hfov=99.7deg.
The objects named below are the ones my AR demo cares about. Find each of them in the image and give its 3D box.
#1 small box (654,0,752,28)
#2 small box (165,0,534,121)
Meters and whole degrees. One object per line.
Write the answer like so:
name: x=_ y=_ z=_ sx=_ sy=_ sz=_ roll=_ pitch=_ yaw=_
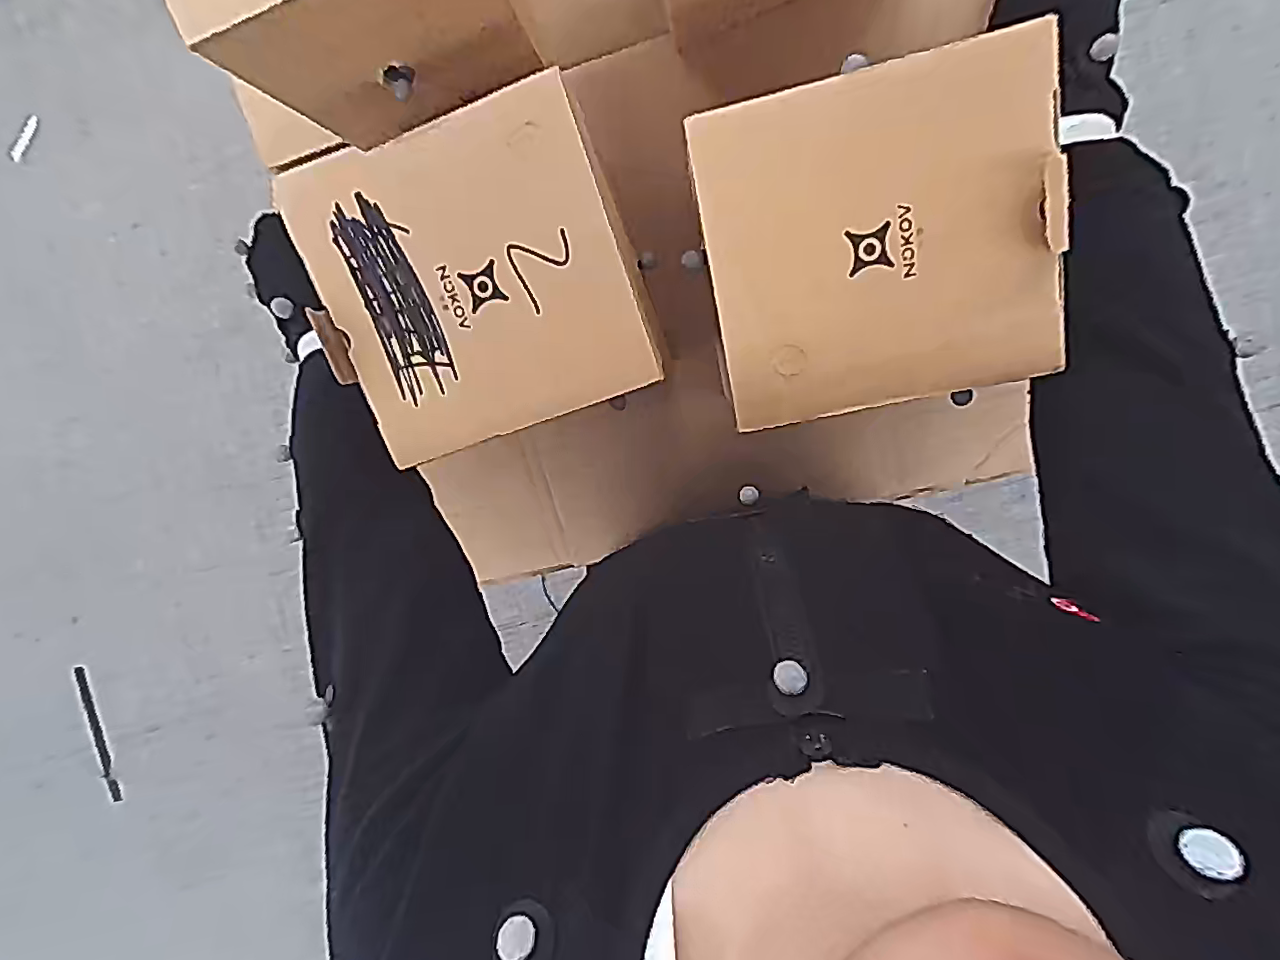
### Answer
small box: x=0.070 y=-0.407 z=0.294 sx=0.179 sy=0.176 sz=0.168 roll=-15 pitch=103 yaw=11
small box: x=-0.183 y=-0.358 z=0.335 sx=0.168 sy=0.176 sz=0.179 roll=-14 pitch=102 yaw=9
